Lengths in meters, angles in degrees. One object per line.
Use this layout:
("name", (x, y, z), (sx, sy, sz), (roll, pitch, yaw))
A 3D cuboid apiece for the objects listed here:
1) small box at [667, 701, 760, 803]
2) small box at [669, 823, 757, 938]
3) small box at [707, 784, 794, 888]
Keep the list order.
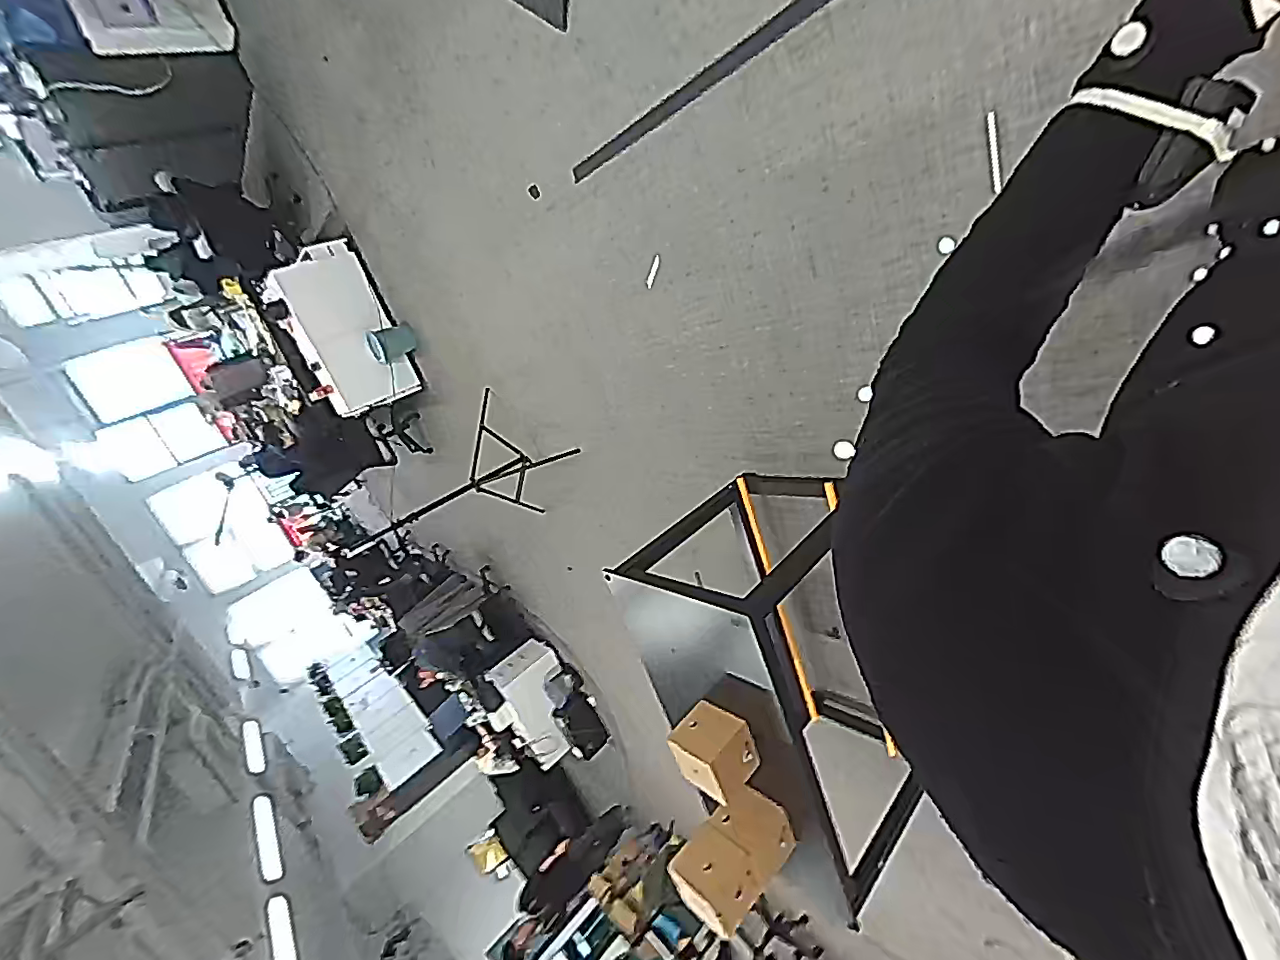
("small box", (0.215, 0.775, 1.564), (0.179, 0.176, 0.168), (3, 121, 51))
("small box", (0.220, 1.153, 1.574), (0.179, 0.176, 0.168), (2, 119, 52))
("small box", (0.341, 1.076, 1.653), (0.179, 0.176, 0.168), (6, 123, 51))
